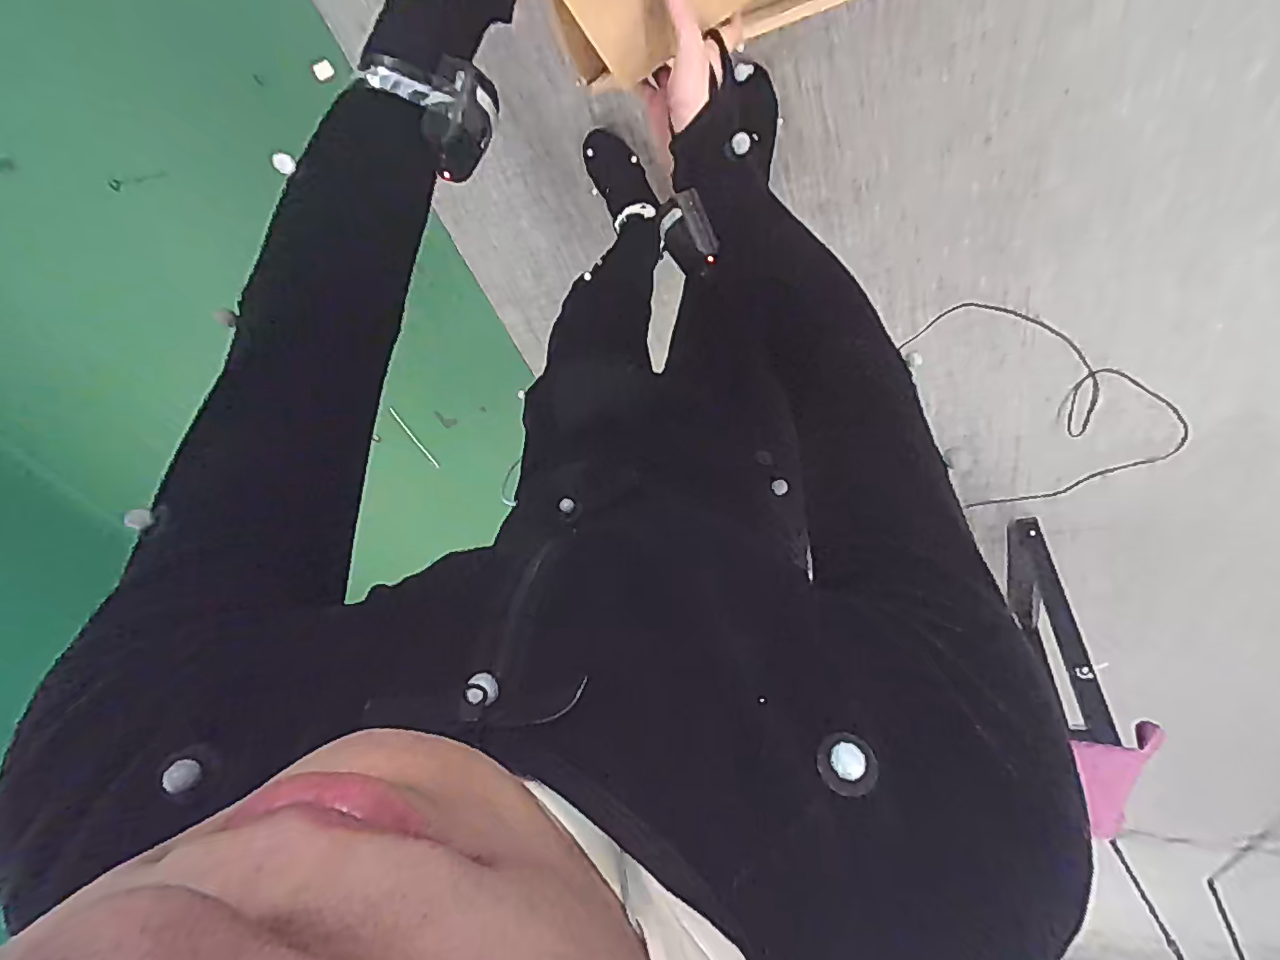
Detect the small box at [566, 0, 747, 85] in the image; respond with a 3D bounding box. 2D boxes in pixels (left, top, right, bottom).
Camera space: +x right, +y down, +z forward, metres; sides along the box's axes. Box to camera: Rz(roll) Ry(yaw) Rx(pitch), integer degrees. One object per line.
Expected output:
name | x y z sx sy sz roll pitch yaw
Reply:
small box | 0.008 -0.500 0.451 0.168 0.176 0.179 -14 148 33
